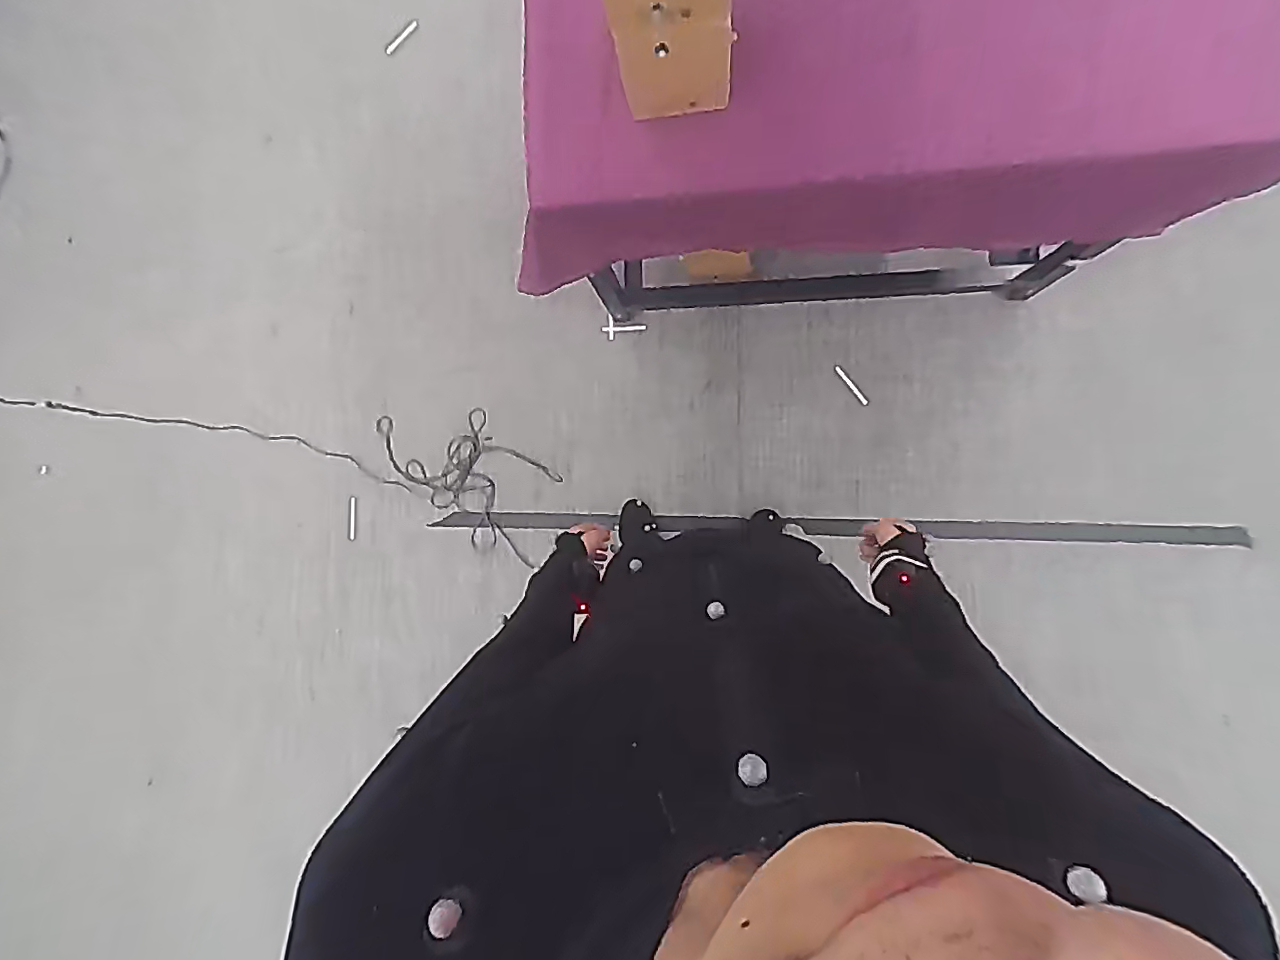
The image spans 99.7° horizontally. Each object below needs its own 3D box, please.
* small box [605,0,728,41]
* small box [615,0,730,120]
[{"bbox_3d":[0.026,-0.717,0.686,0.168,0.176,0.179,-4,88,8],"label":"small box"},{"bbox_3d":[0.052,-0.712,0.848,0.168,0.176,0.179,-2,88,8],"label":"small box"}]
